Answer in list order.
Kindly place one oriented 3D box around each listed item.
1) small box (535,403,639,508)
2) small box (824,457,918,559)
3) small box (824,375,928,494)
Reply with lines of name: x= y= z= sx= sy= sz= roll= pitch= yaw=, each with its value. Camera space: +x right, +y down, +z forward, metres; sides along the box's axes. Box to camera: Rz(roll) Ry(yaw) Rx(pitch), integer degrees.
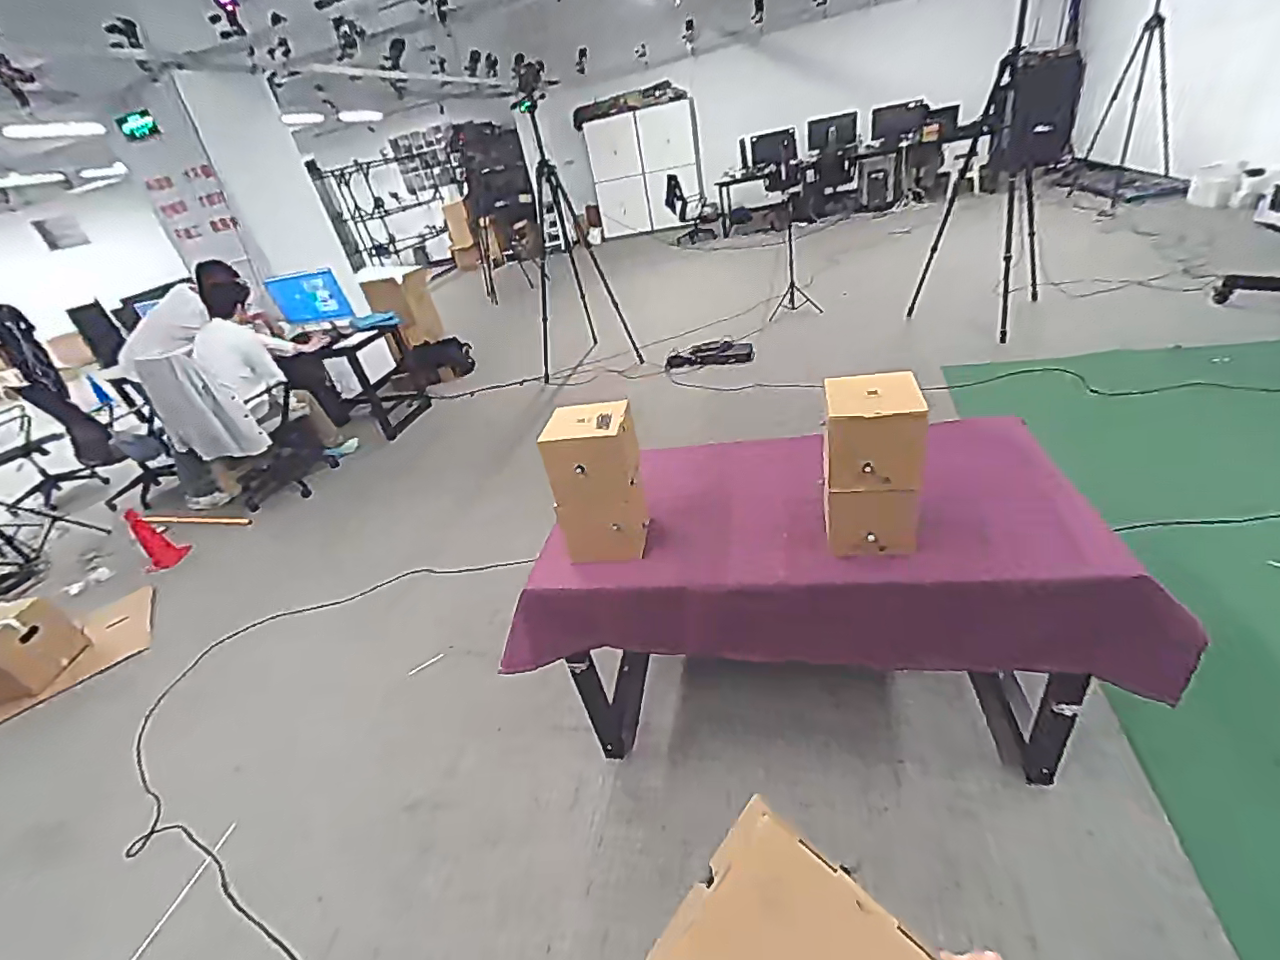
small box: x=-0.107 y=-0.052 z=1.204 sx=0.179 sy=0.176 sz=0.168 roll=-5 pitch=32 yaw=13
small box: x=0.479 y=0.047 z=1.145 sx=0.168 sy=0.176 sz=0.179 roll=-3 pitch=33 yaw=17
small box: x=0.450 y=-0.089 z=1.059 sx=0.168 sy=0.176 sz=0.179 roll=-2 pitch=34 yaw=17
